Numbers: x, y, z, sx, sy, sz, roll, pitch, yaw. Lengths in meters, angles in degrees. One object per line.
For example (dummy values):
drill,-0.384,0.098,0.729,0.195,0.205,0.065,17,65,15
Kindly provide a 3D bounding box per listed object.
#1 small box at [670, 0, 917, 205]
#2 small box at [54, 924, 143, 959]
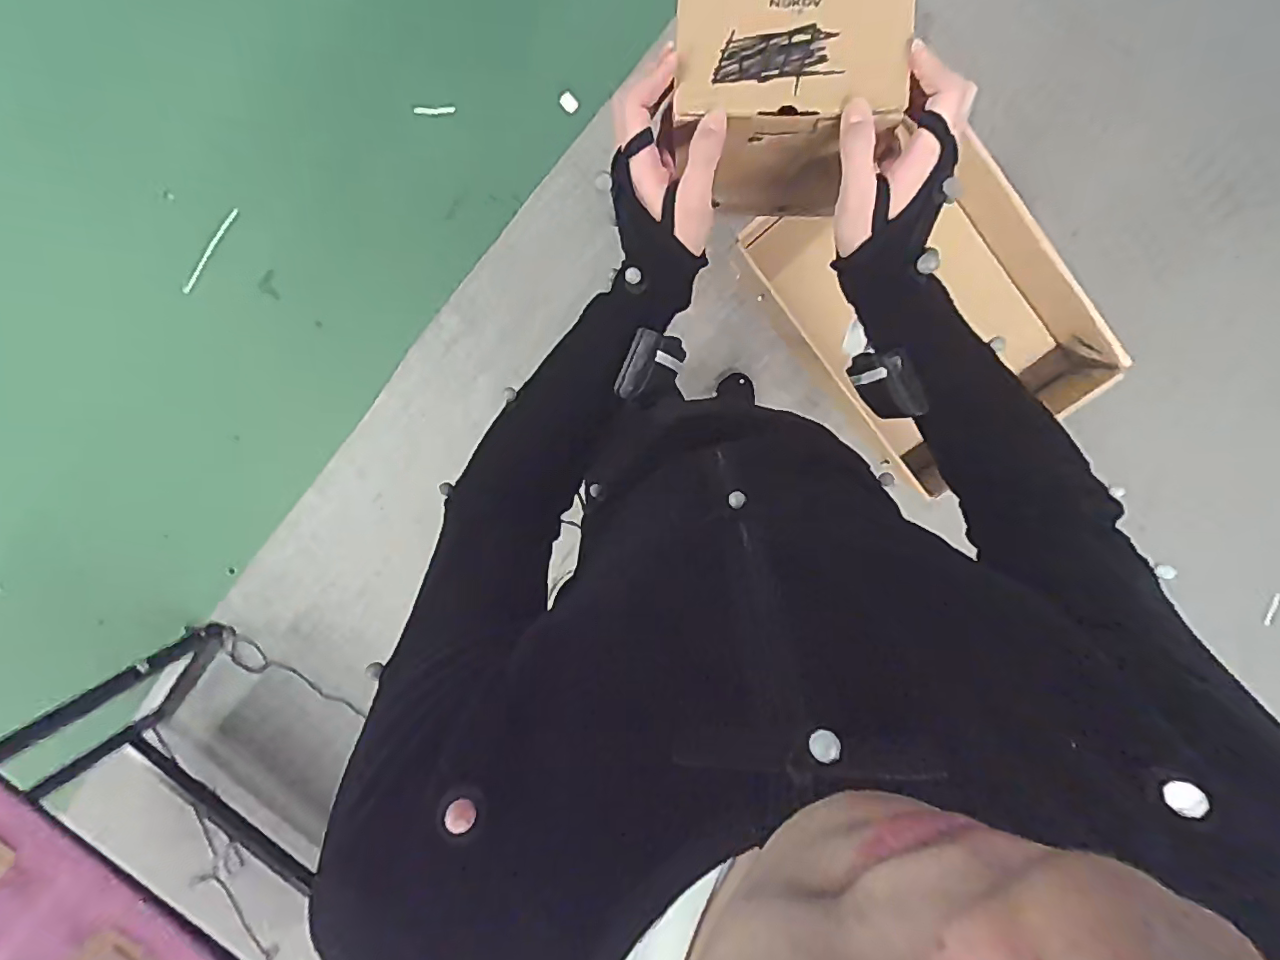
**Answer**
small box,0.113,-0.349,0.447,0.168,0.176,0.179,3,94,3
small box,-1.293,1.170,1.222,0.168,0.176,0.179,44,105,-6
